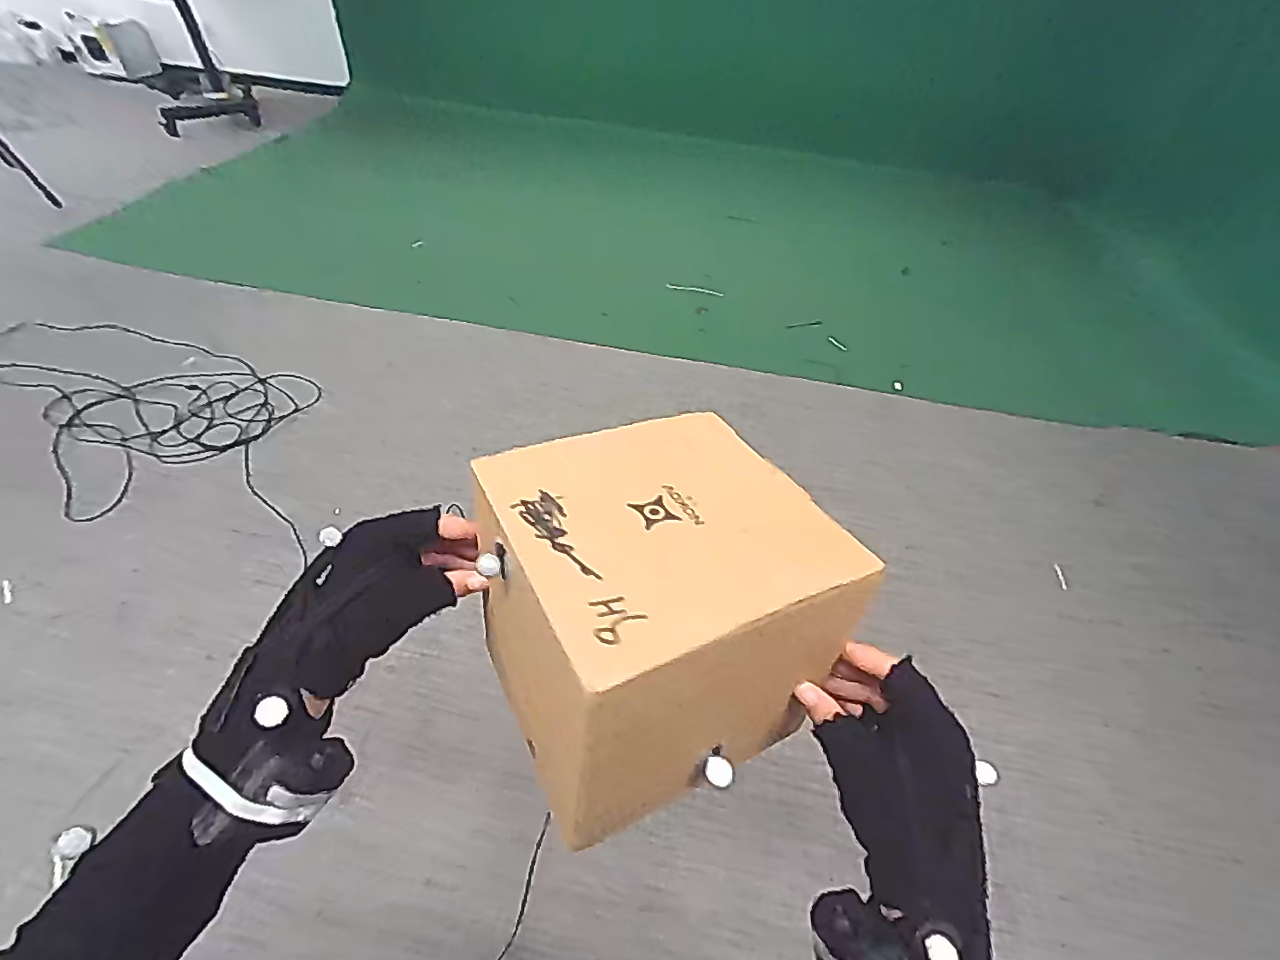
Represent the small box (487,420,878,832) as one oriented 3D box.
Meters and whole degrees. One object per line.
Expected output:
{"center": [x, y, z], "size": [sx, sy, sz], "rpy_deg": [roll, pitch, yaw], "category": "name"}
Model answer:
{"center": [0.008, 0.083, 0.355], "size": [0.179, 0.176, 0.168], "rpy_deg": [-13, 41, -26], "category": "small box"}
